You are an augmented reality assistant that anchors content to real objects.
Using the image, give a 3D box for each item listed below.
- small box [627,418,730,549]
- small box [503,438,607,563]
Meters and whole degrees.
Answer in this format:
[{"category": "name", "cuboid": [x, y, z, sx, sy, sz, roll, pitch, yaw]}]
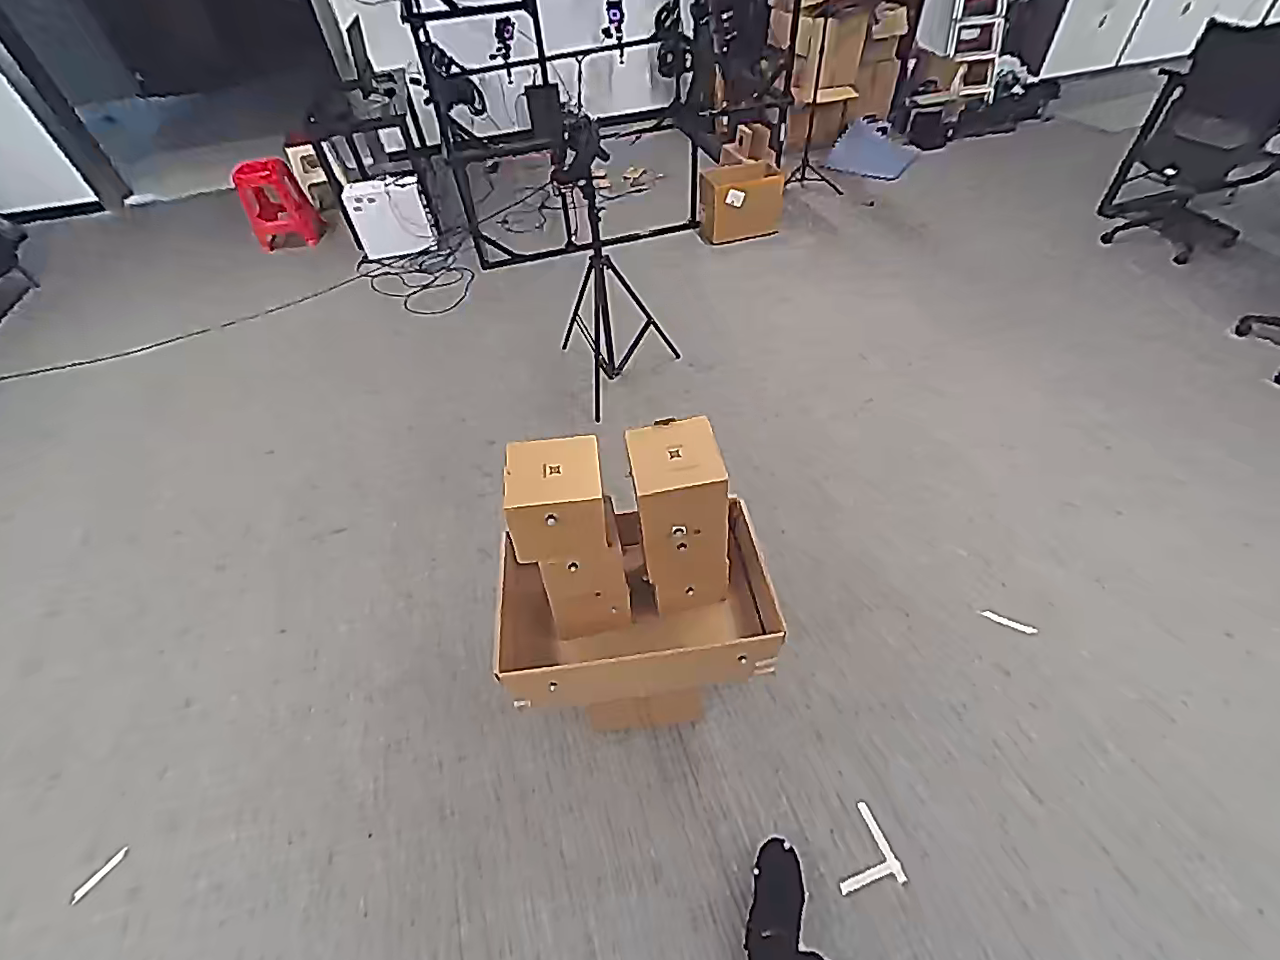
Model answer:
[{"category": "small box", "cuboid": [0.071, 0.007, 1.051, 0.168, 0.176, 0.179, -11, 47, -2]}, {"category": "small box", "cuboid": [-0.156, 0.042, 1.042, 0.179, 0.176, 0.168, -7, 47, -3]}]
